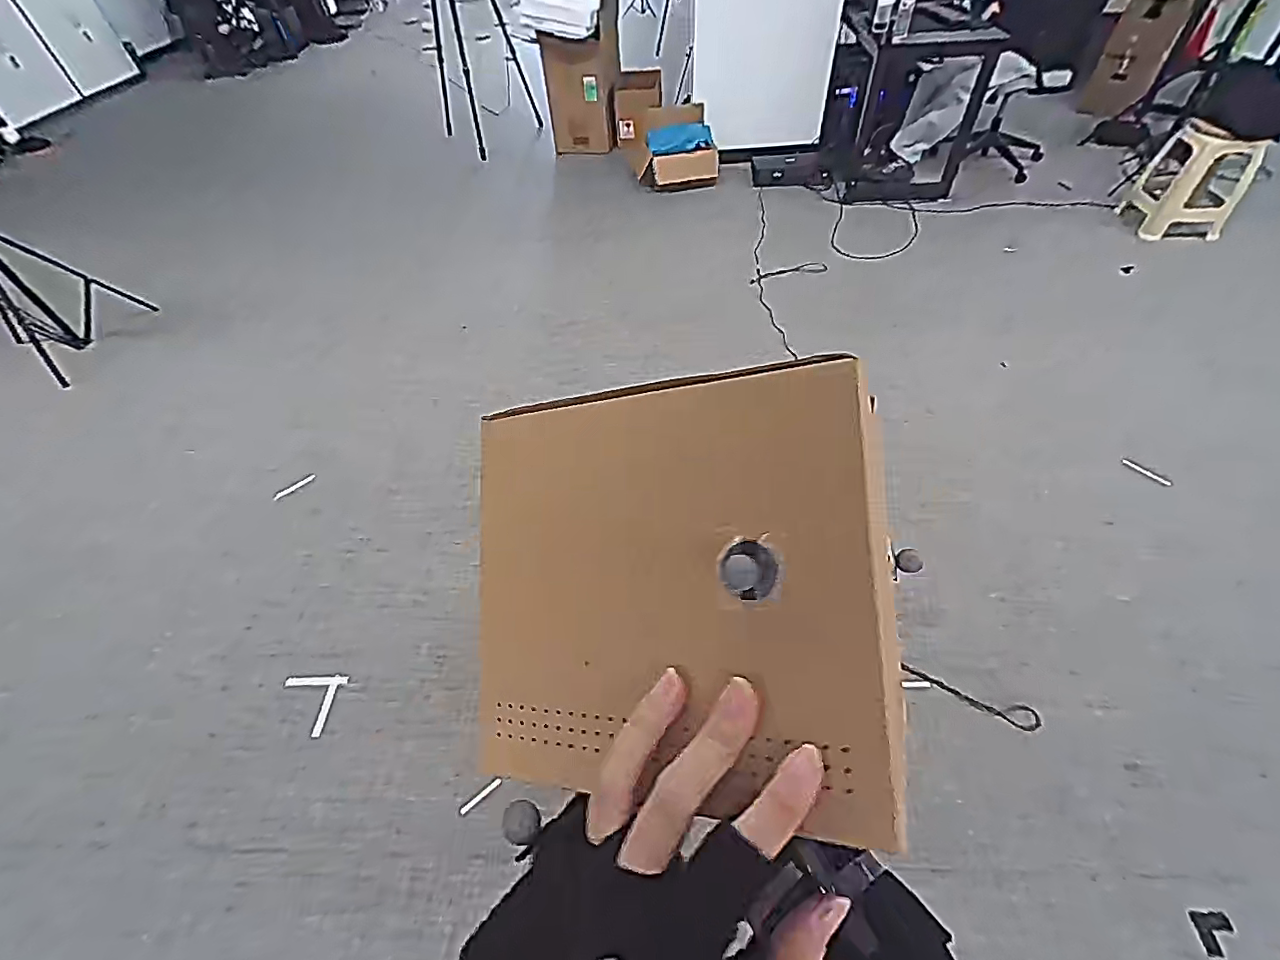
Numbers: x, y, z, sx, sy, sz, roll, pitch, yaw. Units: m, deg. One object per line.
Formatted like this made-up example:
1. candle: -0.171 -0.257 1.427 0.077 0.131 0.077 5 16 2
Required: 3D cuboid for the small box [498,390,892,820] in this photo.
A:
1. small box: 0.041 0.061 0.306 0.179 0.168 0.176 -6 81 25
